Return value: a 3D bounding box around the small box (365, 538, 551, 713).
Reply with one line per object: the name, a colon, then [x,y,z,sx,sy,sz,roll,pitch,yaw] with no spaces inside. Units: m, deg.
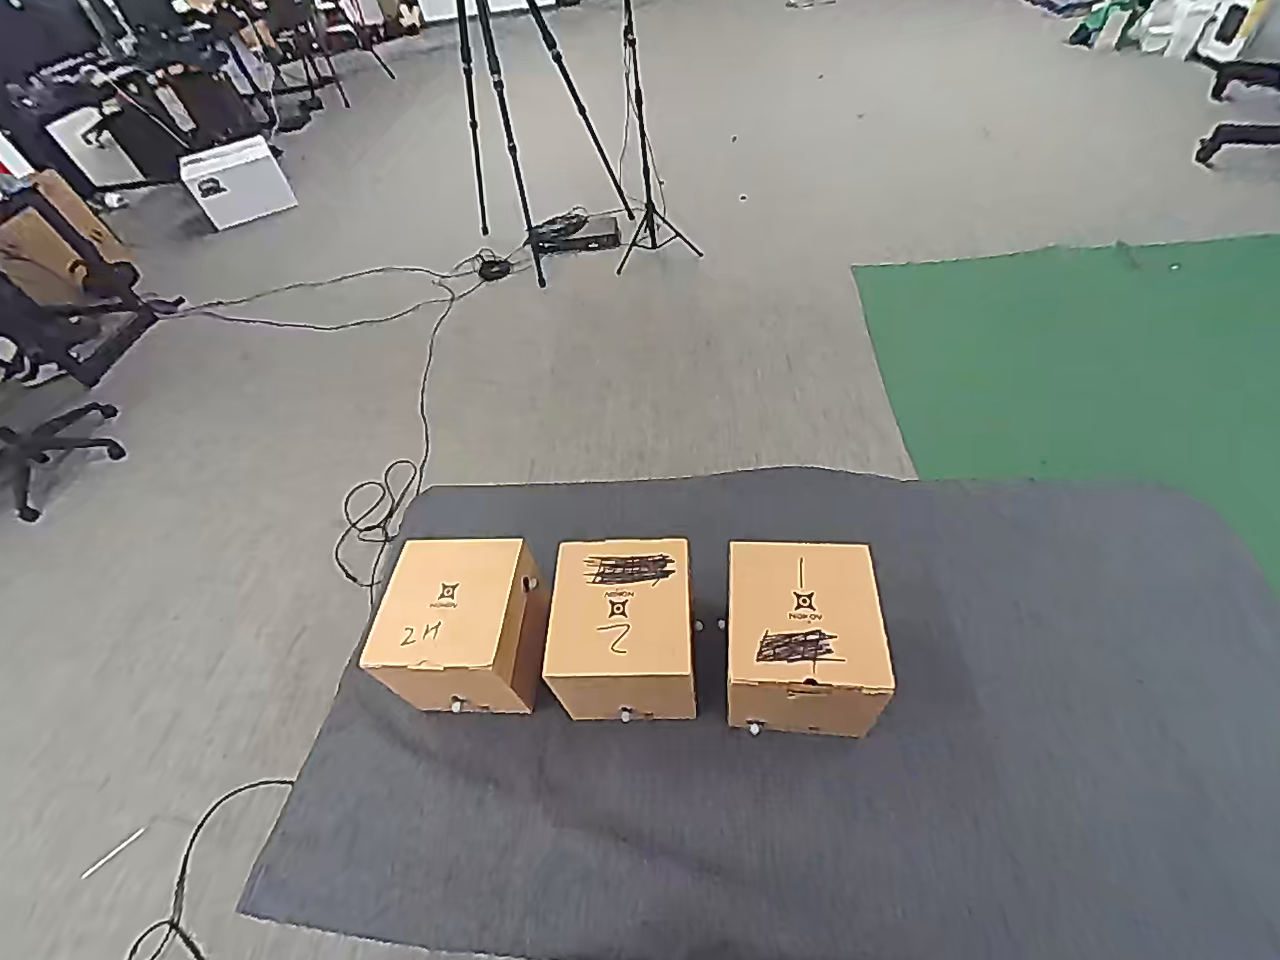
small box: [-0.227,0.196,0.732,0.168,0.176,0.179,-1,51,8]
